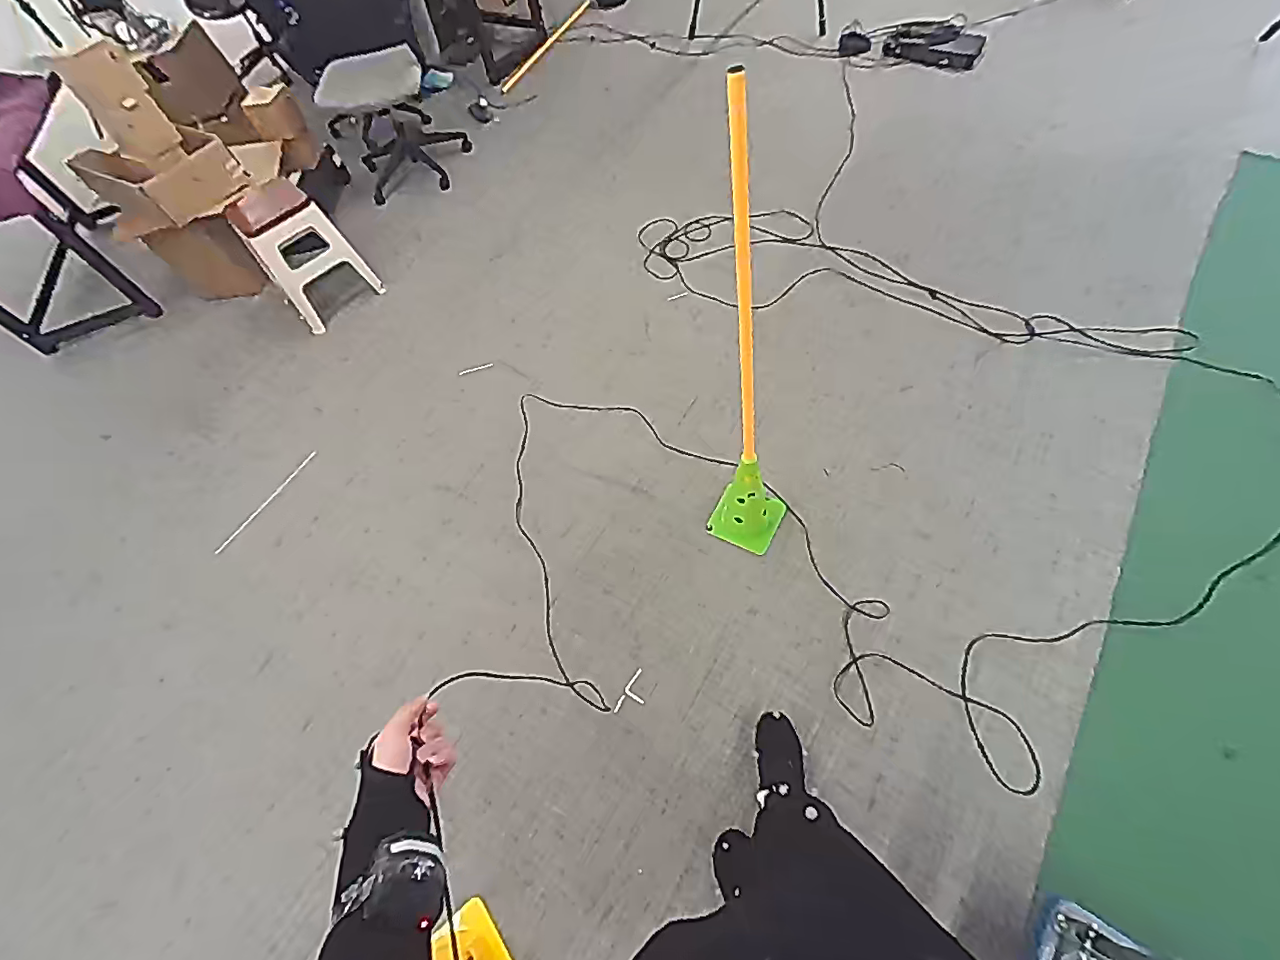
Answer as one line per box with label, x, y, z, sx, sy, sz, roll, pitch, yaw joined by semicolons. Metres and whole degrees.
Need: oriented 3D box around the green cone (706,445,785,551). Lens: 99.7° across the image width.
green cone;0.309;0.022;1.551;0.200;0.368;0.202;22;65;20
